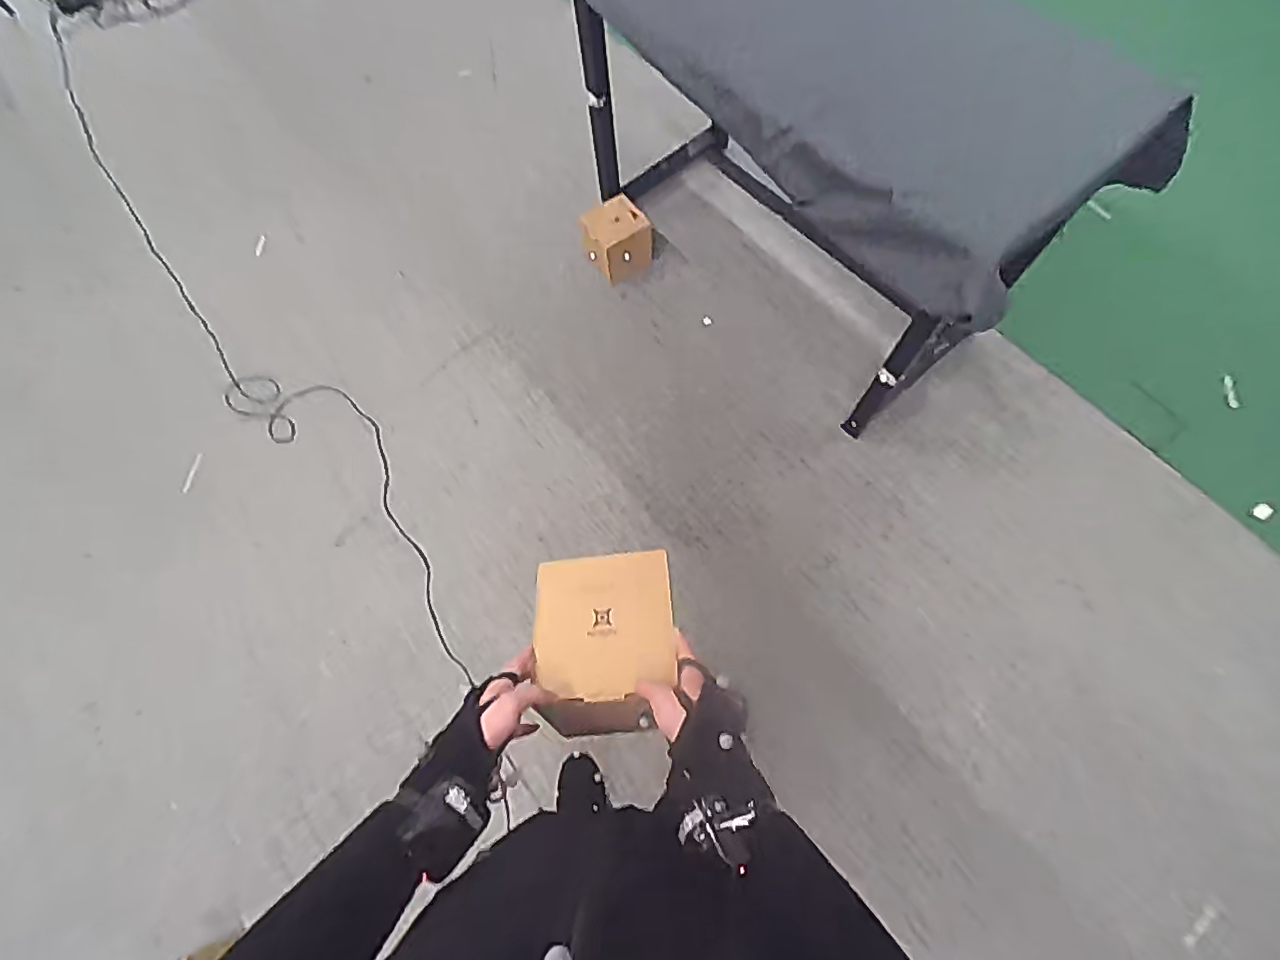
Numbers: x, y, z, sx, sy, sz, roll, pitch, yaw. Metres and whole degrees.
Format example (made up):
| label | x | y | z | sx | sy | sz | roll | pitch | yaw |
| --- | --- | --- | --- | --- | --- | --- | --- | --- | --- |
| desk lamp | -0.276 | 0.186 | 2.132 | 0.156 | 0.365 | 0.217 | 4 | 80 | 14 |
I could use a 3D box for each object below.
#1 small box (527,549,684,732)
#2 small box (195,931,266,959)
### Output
| label | x | y | z | sx | sy | sz | roll | pitch | yaw |
| --- | --- | --- | --- | --- | --- | --- | --- | --- | --- |
| small box | -0.037 | 0.213 | 0.694 | 0.168 | 0.176 | 0.179 | -7 | 51 | 3 |
| small box | -0.913 | 1.107 | 1.126 | 0.179 | 0.176 | 0.168 | -36 | 71 | -11 |
